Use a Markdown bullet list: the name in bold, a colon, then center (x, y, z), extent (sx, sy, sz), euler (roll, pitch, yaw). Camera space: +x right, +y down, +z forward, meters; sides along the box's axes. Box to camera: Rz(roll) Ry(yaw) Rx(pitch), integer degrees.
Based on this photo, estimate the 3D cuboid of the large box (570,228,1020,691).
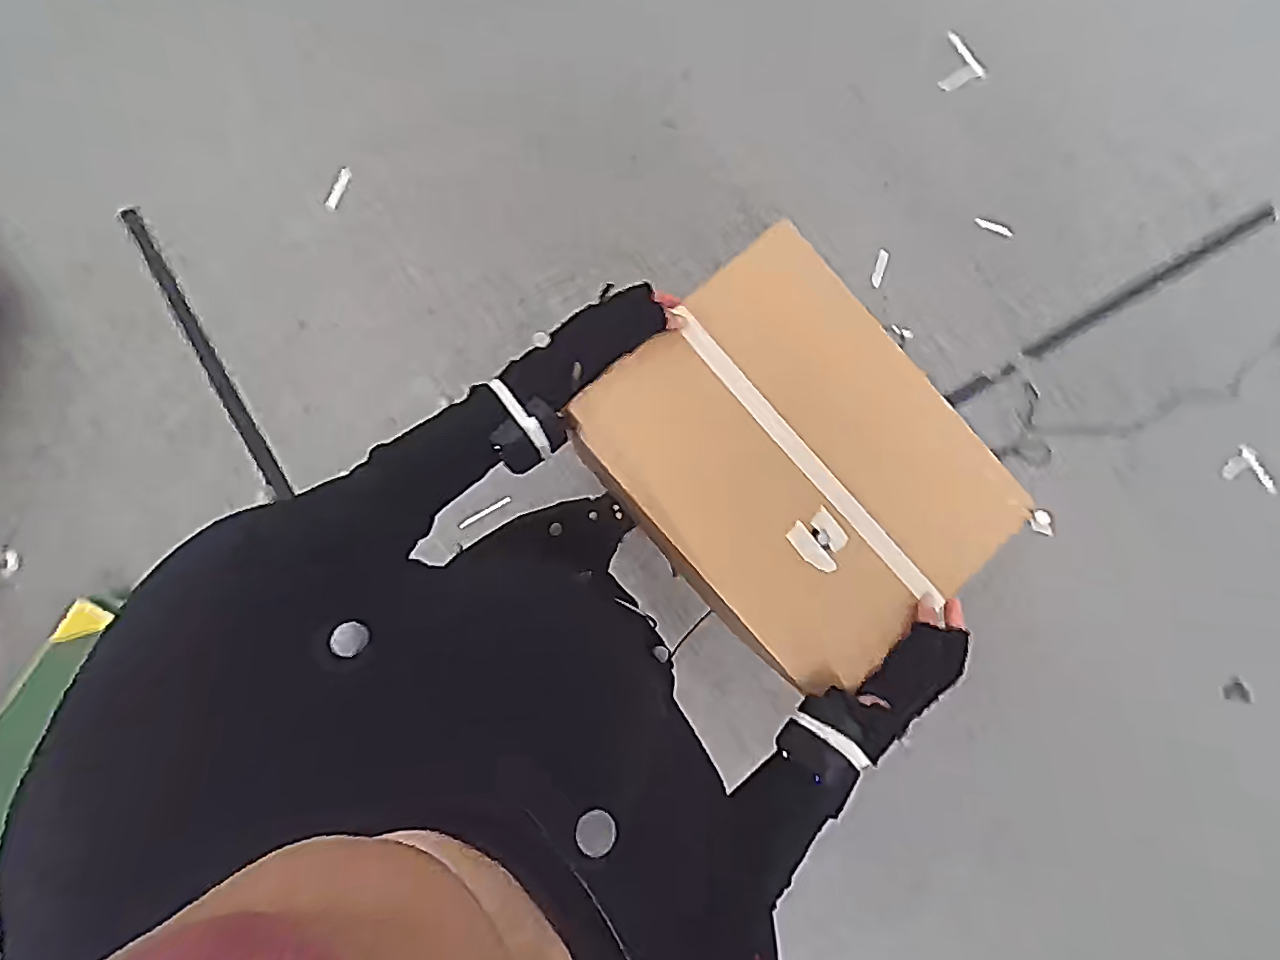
- **large box**: center (0.154, -0.019, 0.711), extent (0.320, 0.320, 0.408), euler (-42, 92, -5)
